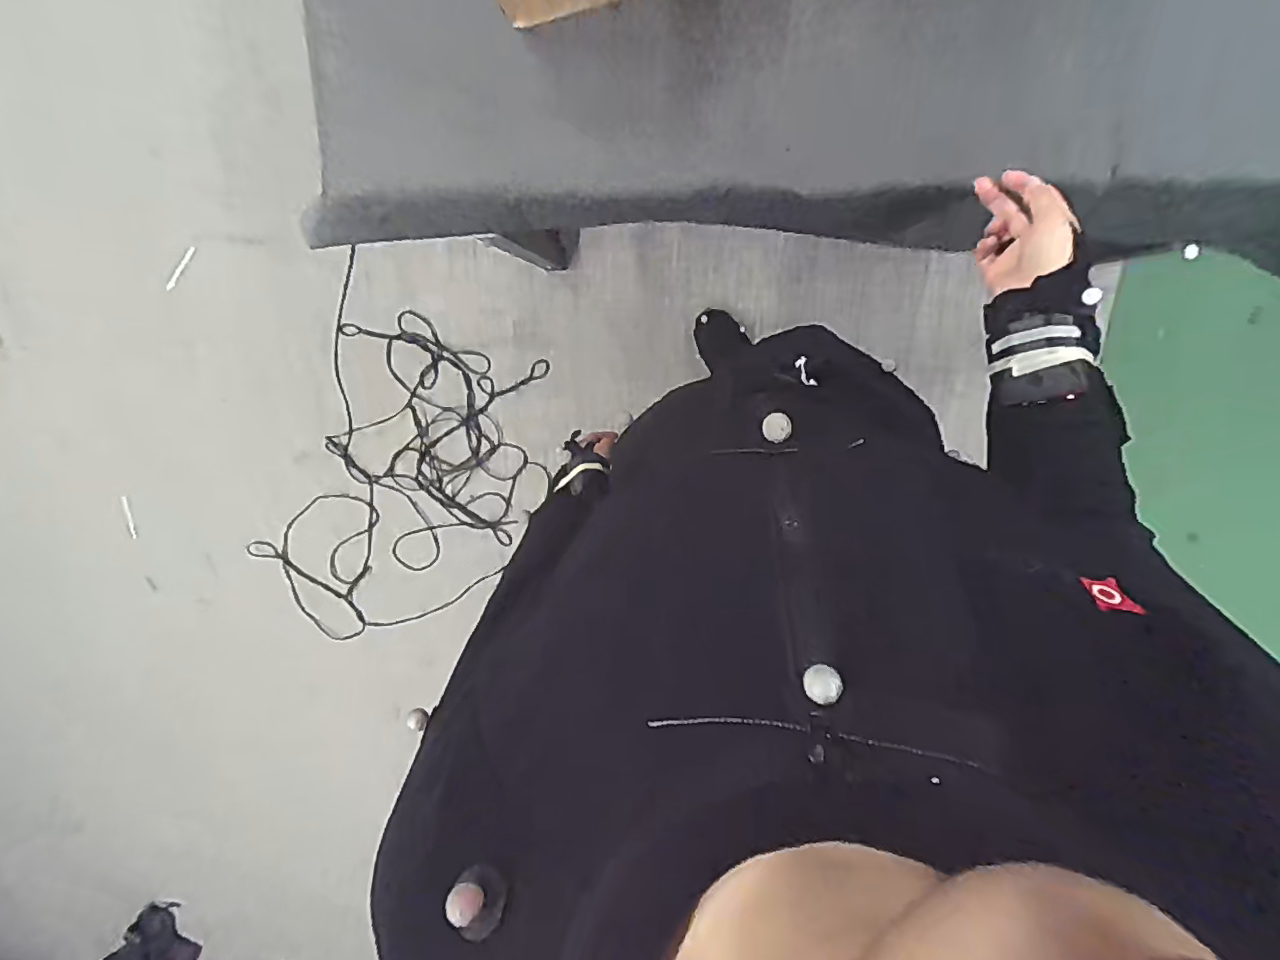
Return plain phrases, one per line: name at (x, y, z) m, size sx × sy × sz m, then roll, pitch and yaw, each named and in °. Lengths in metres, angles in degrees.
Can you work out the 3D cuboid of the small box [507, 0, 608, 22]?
small box at (-0.067, -0.516, 0.416) m, size 0.168 × 0.176 × 0.179 m, roll -9°, pitch 103°, yaw 8°
